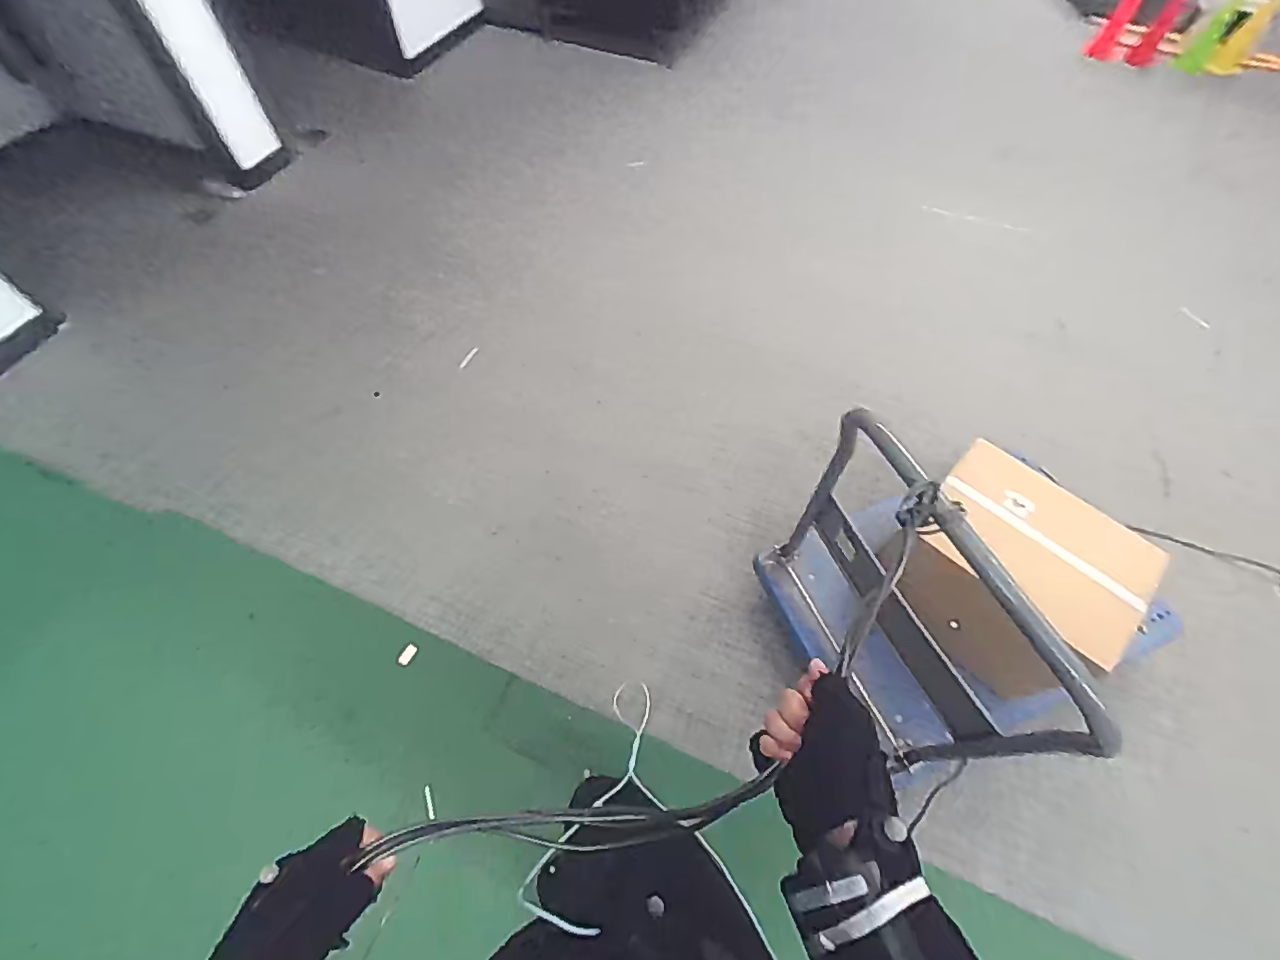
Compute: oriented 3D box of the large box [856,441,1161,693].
[{"bbox_3d":[0.778,0.197,1.202,0.408,0.320,0.320,40,67,21],"label":"large box"}]
